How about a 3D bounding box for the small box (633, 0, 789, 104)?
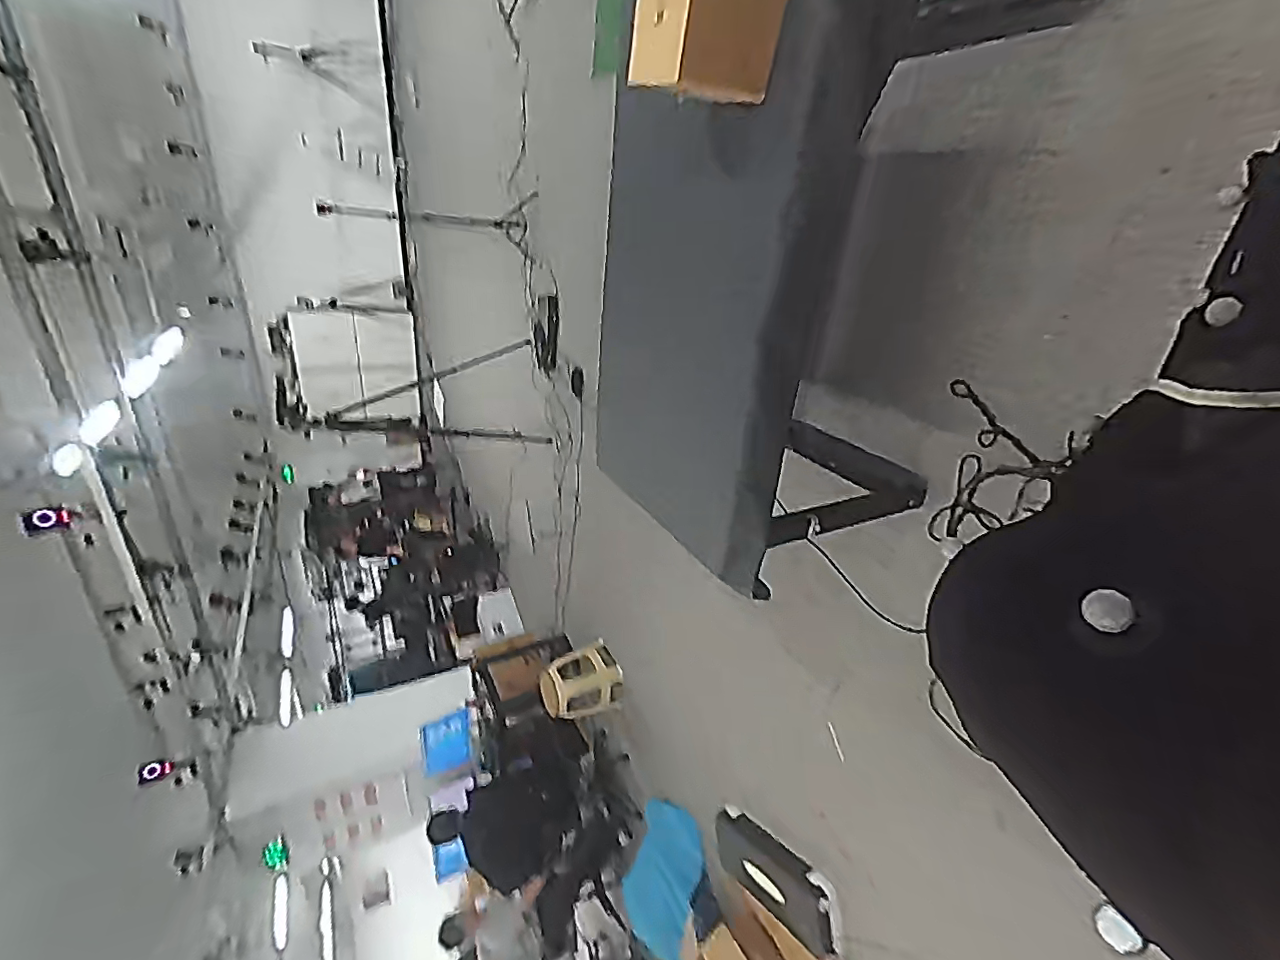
[{"bbox_3d":[0.107,-0.704,0.843,0.168,0.176,0.179,48,138,46],"label":"small box"}]
